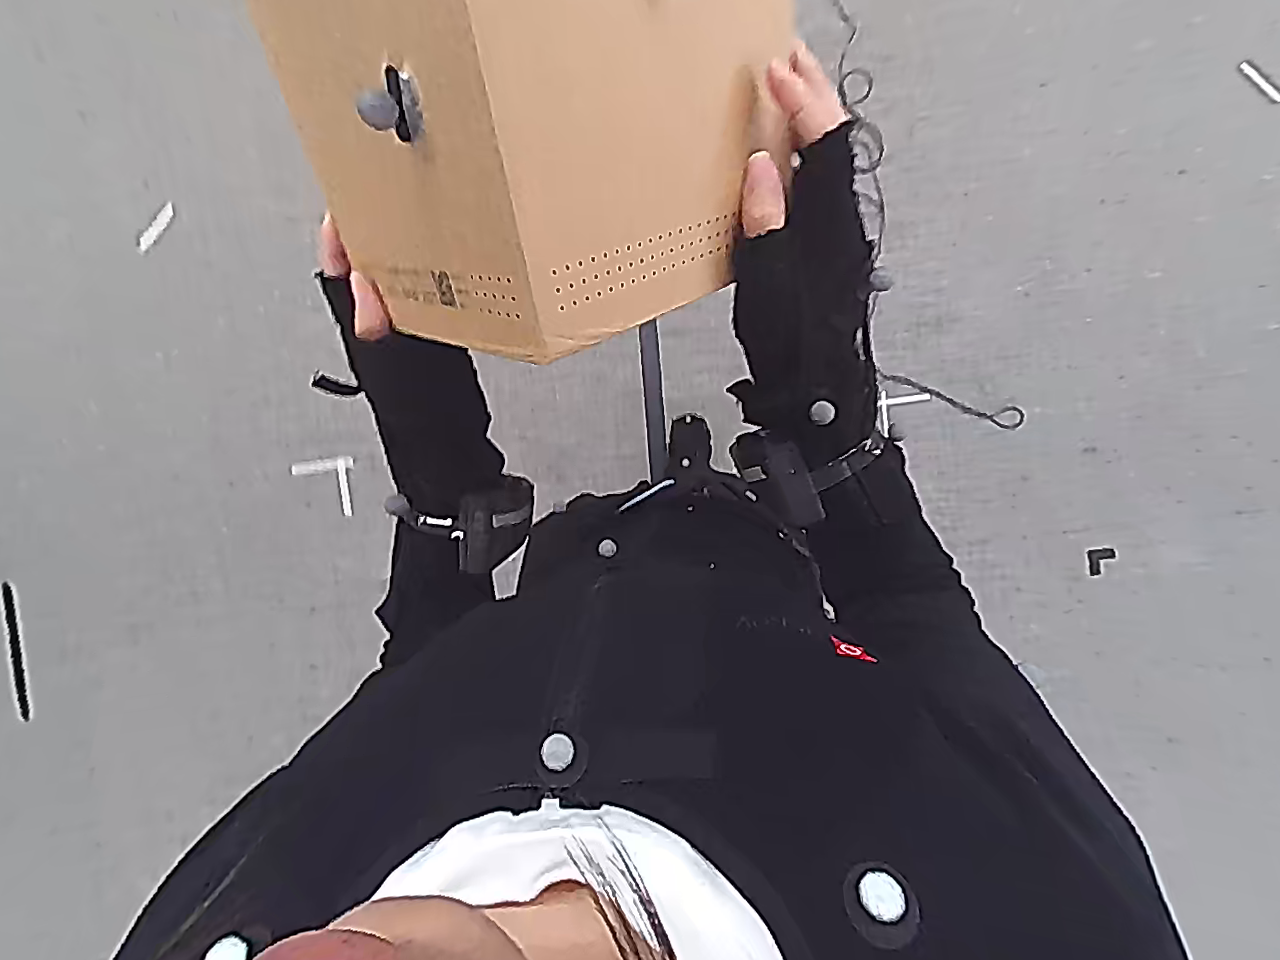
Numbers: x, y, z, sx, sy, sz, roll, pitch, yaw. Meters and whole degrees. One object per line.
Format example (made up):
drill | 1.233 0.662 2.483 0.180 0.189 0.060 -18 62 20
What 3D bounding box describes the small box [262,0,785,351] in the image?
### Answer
small box | -0.039 -0.174 0.264 0.168 0.179 0.176 22 133 39
